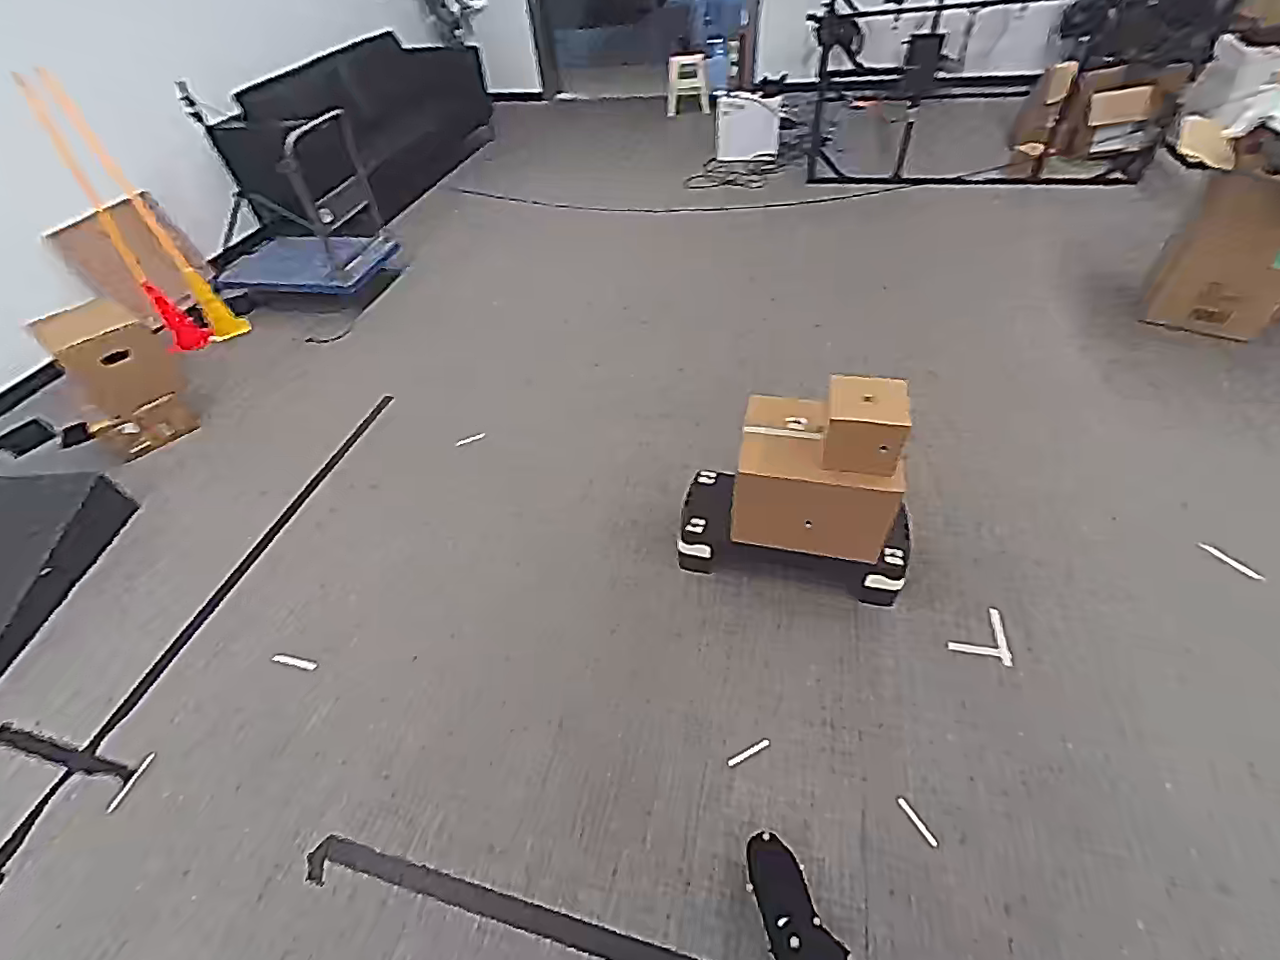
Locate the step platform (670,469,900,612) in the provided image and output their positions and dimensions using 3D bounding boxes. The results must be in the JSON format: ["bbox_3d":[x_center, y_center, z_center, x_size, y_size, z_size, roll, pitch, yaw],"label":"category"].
[{"bbox_3d":[0.442,0.171,1.701,0.684,0.204,0.286,11,50,17],"label":"step platform"}]

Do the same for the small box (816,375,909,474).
[{"bbox_3d":[0.532,-0.132,1.310,0.179,0.176,0.168,7,49,13],"label":"small box"}]

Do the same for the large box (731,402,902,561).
[{"bbox_3d":[0.478,0.004,1.526,0.408,0.320,0.320,6,48,14],"label":"large box"}]
